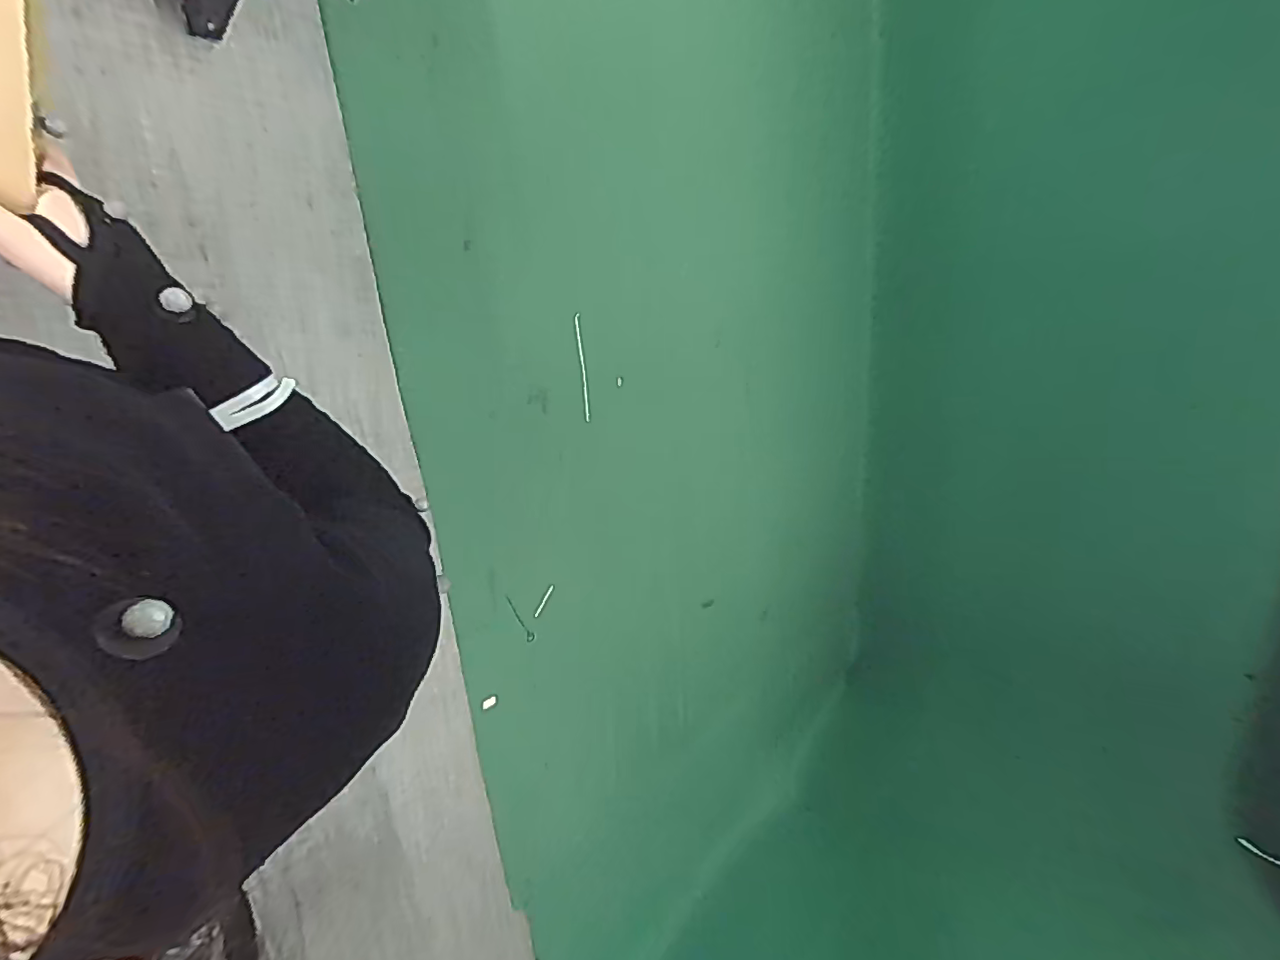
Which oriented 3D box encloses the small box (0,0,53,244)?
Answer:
[{"bbox_3d":[-0.462,-0.252,0.306,0.168,0.176,0.179,-2,113,-45],"label":"small box"}]
